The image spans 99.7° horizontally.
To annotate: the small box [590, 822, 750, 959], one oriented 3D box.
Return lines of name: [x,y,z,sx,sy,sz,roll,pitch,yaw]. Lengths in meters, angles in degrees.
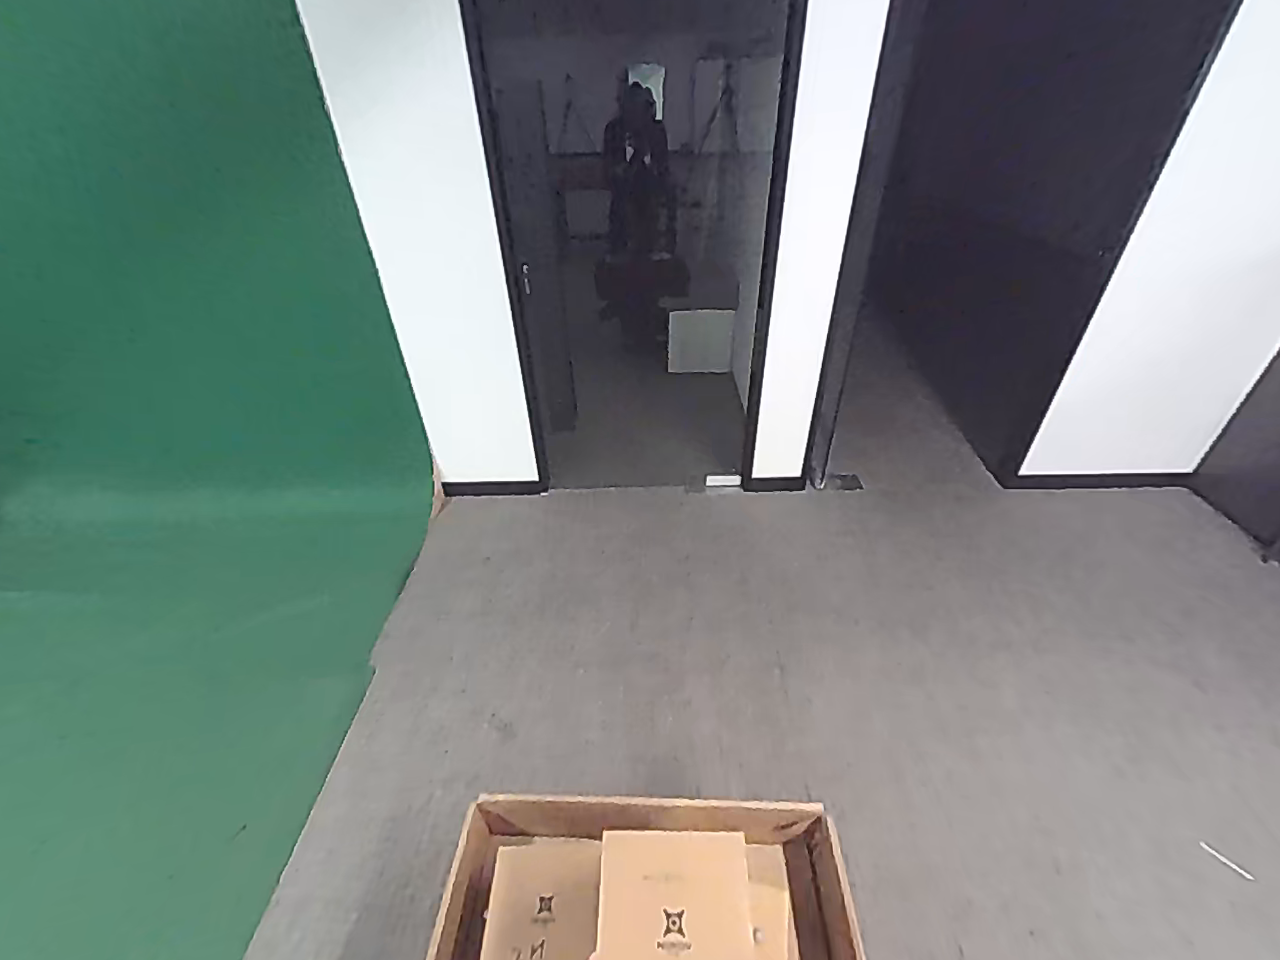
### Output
small box: [0.038,0.511,0.625,0.168,0.176,0.179,-1,51,5]

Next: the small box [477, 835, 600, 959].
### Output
small box: [-0.138,0.674,0.824,0.168,0.176,0.179,-1,37,0]
